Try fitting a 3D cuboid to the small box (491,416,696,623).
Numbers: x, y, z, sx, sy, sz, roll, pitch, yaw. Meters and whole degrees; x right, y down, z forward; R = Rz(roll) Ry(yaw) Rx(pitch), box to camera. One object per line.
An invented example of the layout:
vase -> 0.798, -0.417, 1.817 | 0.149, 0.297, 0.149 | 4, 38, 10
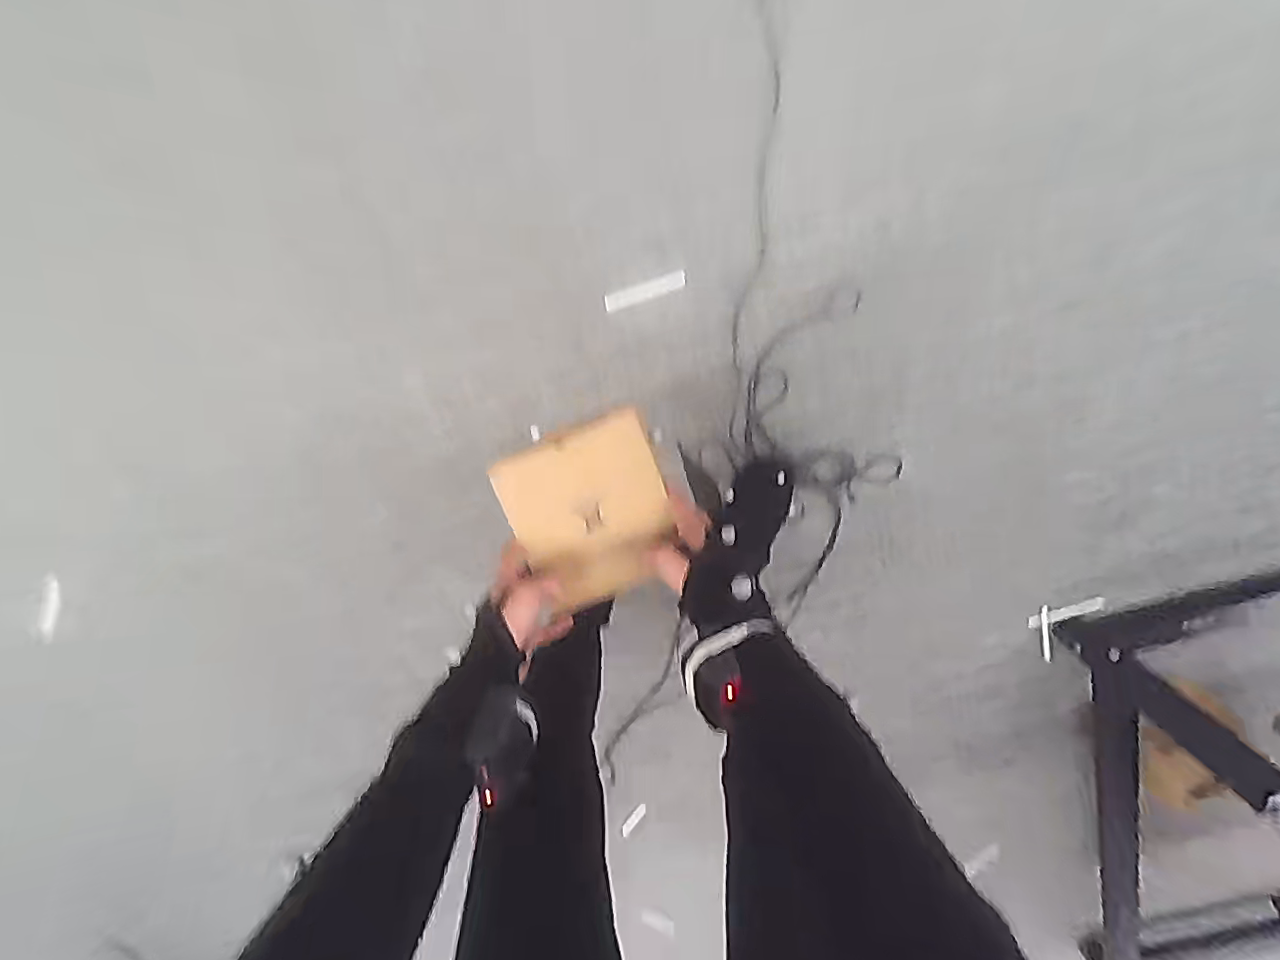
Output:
small box -> -0.047, 0.032, 0.631 | 0.168, 0.176, 0.179 | -21, 100, 4
